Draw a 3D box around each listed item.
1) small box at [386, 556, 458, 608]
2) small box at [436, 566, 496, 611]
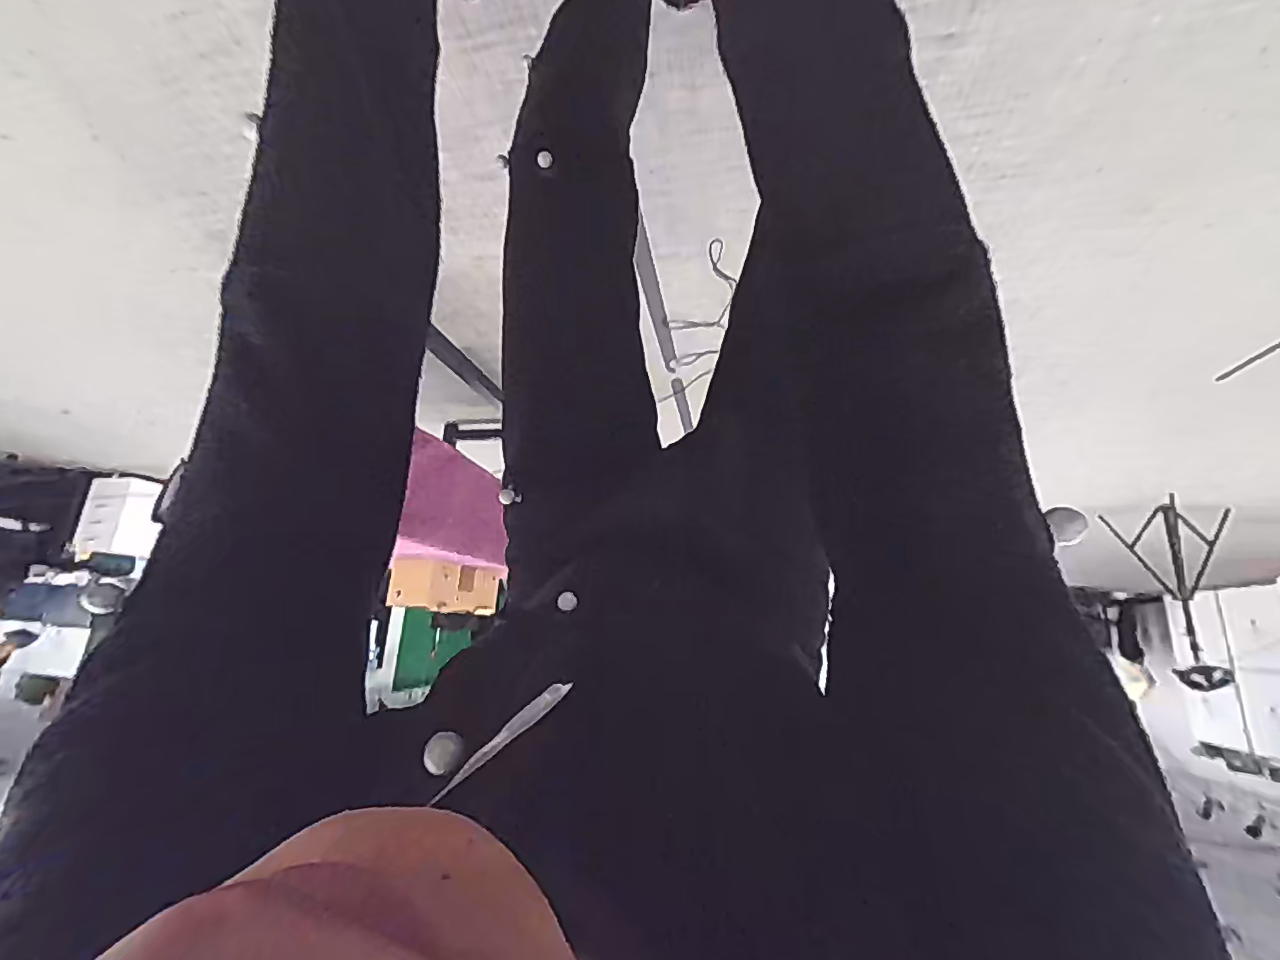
[{"bbox_3d":[-0.790,0.374,1.977,0.179,0.176,0.168,-1,164,16],"label":"small box"},{"bbox_3d":[-0.705,0.443,2.210,0.179,0.176,0.168,-2,164,21],"label":"small box"}]
